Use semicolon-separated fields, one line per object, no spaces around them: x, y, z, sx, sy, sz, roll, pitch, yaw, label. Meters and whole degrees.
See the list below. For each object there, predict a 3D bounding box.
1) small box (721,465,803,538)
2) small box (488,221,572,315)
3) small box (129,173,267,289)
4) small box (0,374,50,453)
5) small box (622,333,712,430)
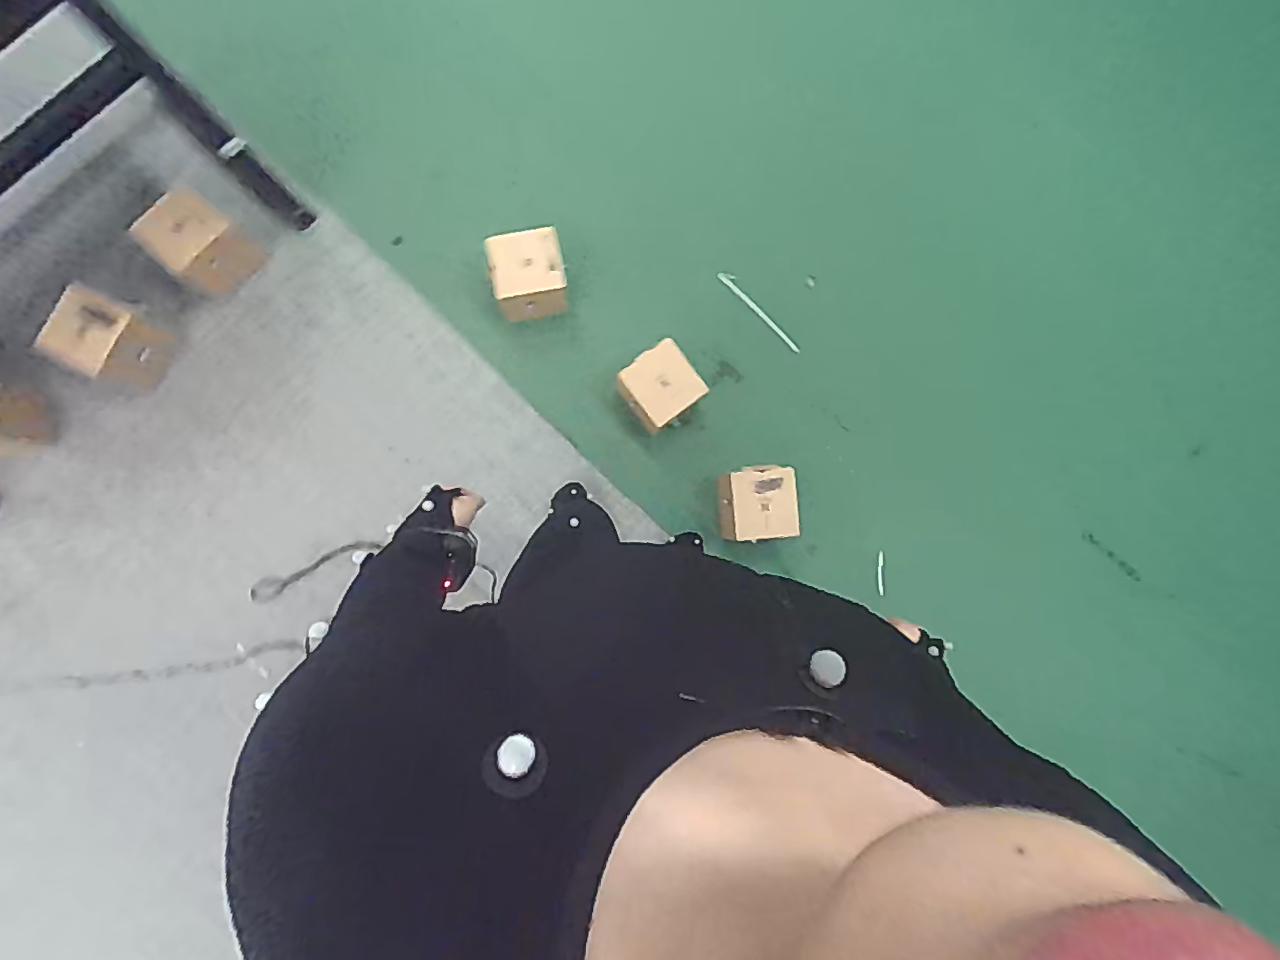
0.315;0.059;1.429;0.168;0.176;0.179;-4;88;-4;small box
-0.284;-0.552;1.432;0.179;0.176;0.168;-11;87;-3;small box
-1.116;-0.625;1.383;0.168;0.176;0.179;43;85;-1;small box
-1.620;-0.163;1.327;0.168;0.176;0.179;-13;87;-4;small box
0.063;-0.251;1.434;0.168;0.176;0.179;-37;91;-4;small box
